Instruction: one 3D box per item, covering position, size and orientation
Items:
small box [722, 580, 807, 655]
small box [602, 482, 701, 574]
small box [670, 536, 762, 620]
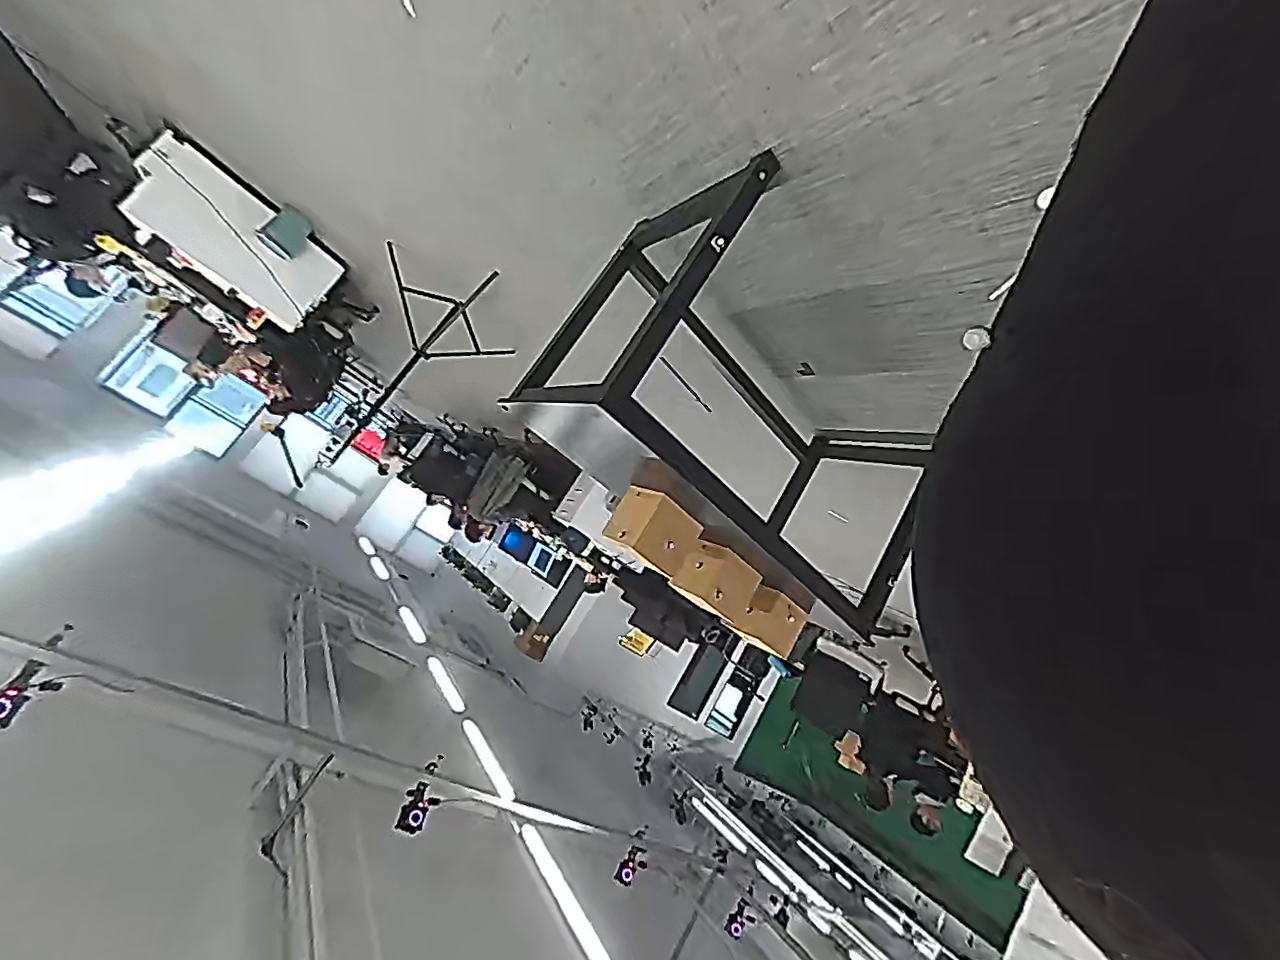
[{"bbox_3d":[0.410,0.436,1.768,0.168,0.176,0.179,39,165,-29],"label":"small box"},{"bbox_3d":[0.037,0.129,1.486,0.179,0.176,0.168,39,166,-32],"label":"small box"},{"bbox_3d":[0.232,0.290,1.634,0.179,0.176,0.168,40,166,-30],"label":"small box"}]
